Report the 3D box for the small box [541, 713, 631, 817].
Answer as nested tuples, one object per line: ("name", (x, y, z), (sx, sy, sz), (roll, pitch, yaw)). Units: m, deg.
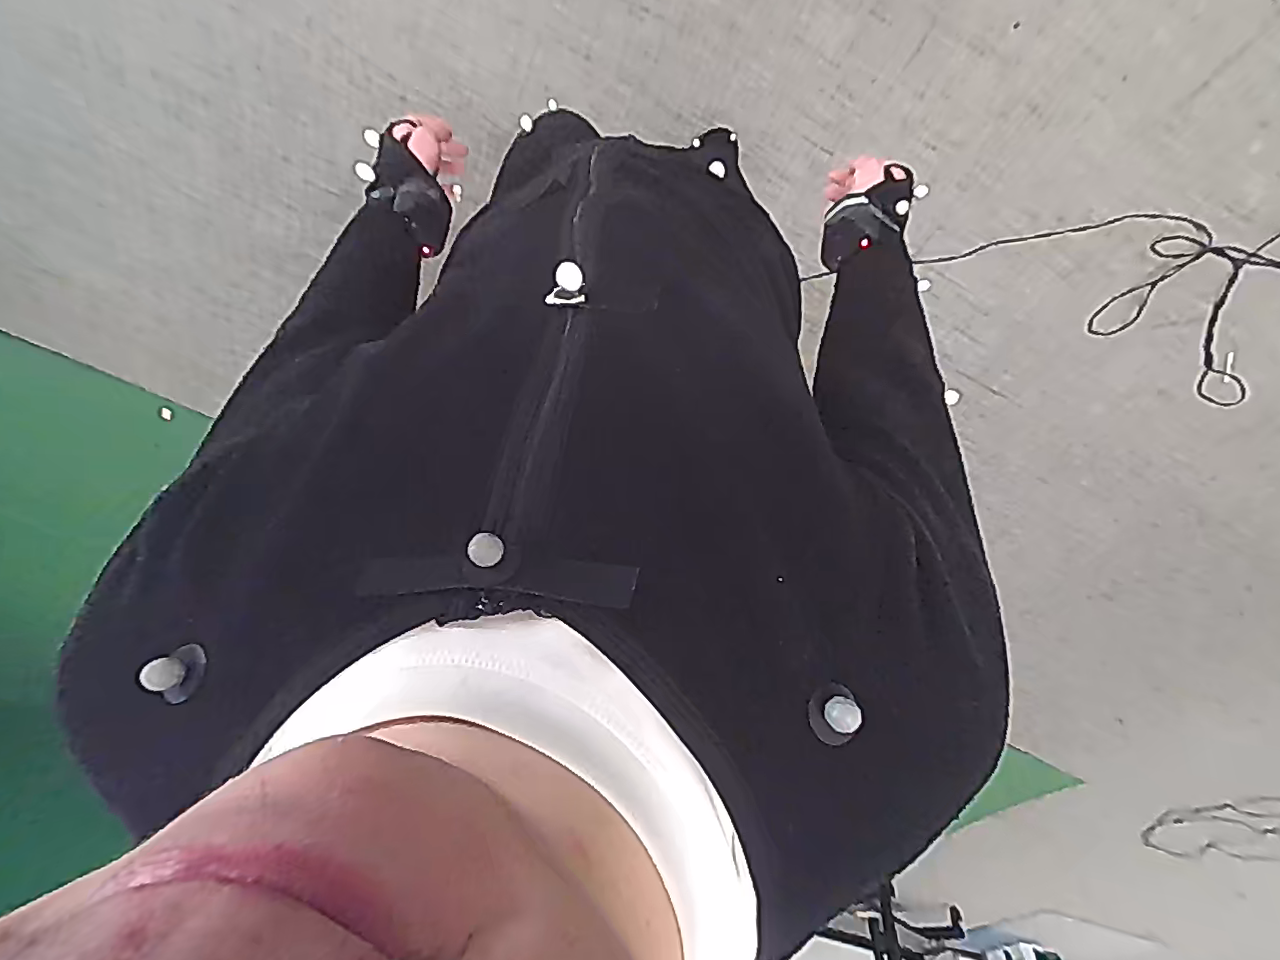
("small box", (-0.134, 0.738, 1.407), (0.168, 0.176, 0.179), (28, 127, -12))
